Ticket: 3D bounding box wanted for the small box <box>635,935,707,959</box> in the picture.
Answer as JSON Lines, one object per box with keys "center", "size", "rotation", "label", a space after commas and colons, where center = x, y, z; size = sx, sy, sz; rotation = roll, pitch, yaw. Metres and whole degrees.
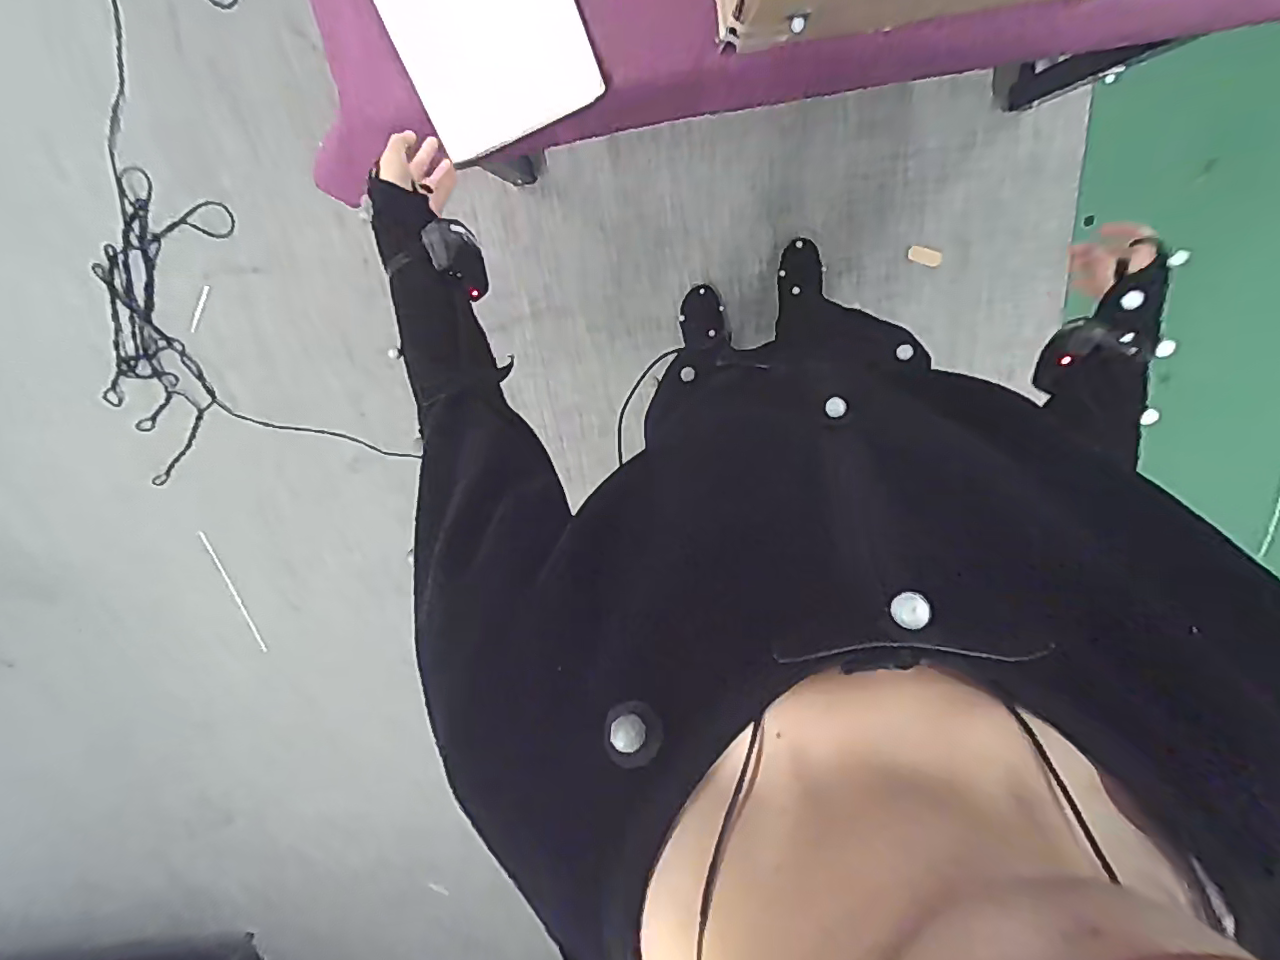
{"center": [0.086, 1.441, 1.530], "size": [0.179, 0.176, 0.168], "rotation": [23, 111, -5], "label": "small box"}
